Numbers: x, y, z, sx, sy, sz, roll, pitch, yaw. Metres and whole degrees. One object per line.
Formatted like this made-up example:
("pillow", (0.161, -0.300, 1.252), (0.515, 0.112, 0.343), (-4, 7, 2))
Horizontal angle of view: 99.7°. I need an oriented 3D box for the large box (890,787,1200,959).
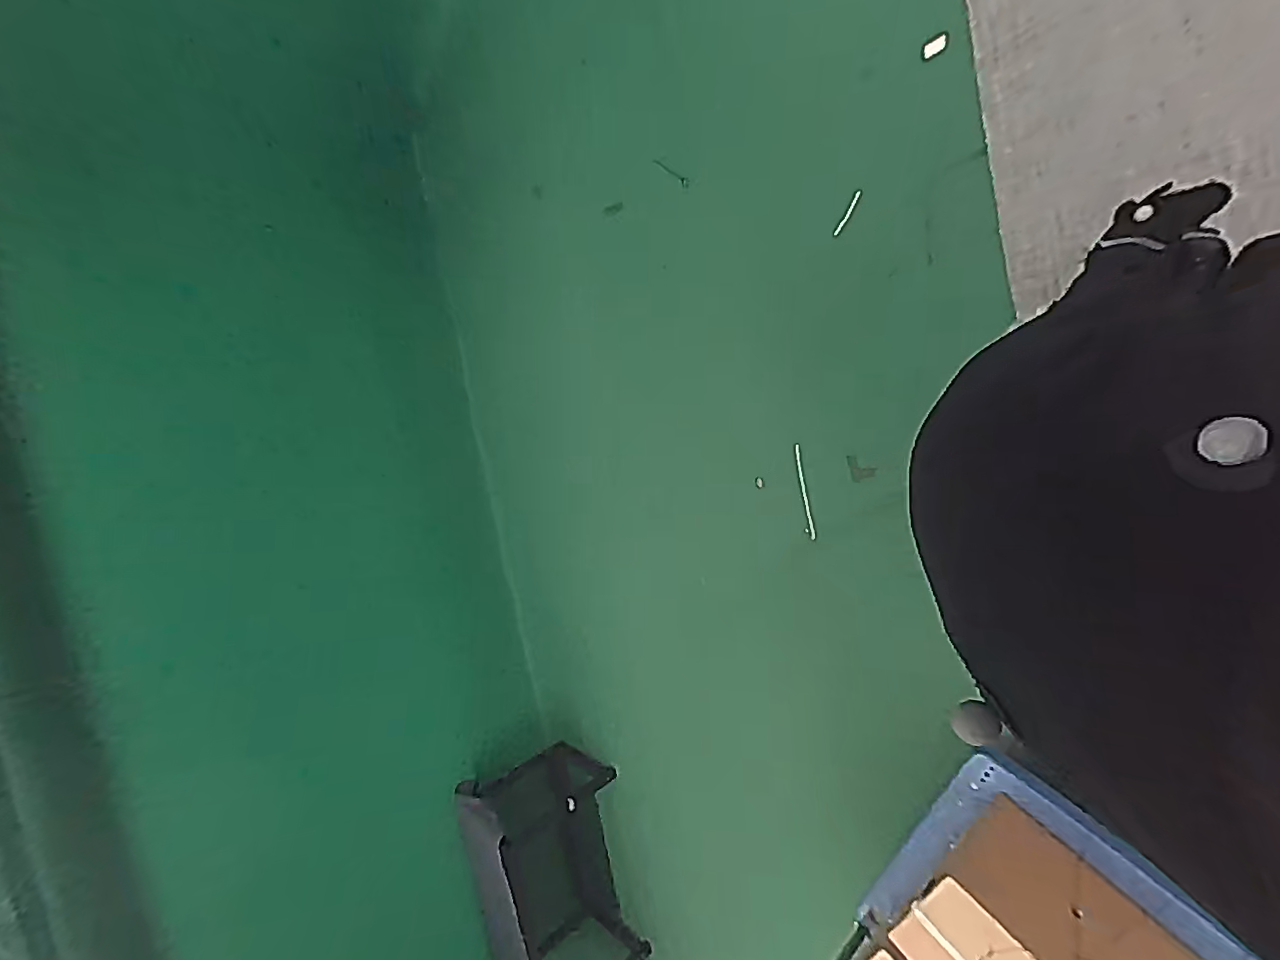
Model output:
("large box", (0.847, 0.986, 1.167), (0.408, 0.320, 0.320), (38, 130, 36))
